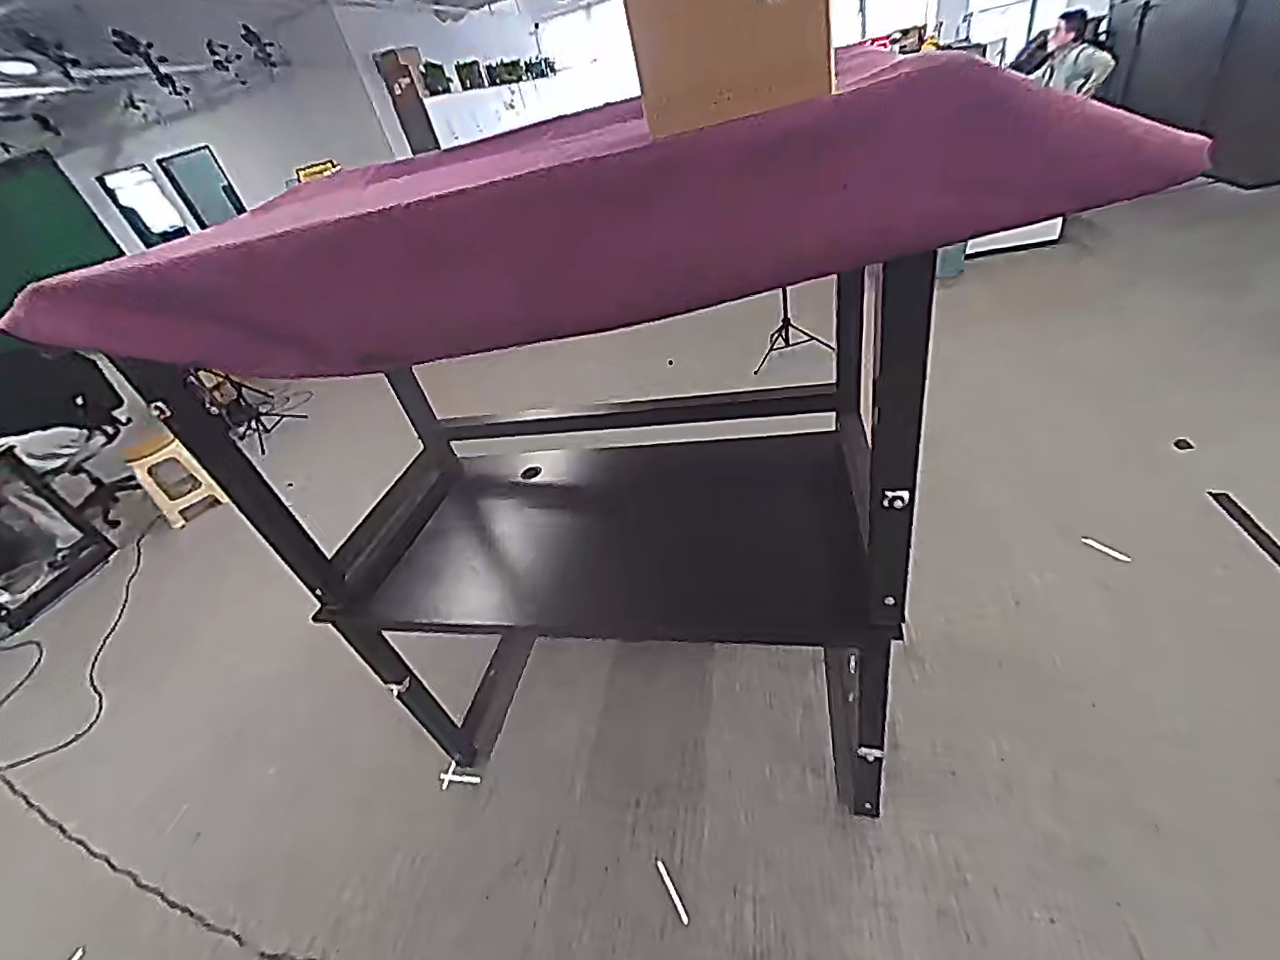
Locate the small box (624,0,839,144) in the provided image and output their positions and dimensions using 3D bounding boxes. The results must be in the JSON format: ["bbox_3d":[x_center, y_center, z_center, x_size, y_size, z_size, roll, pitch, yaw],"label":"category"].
[{"bbox_3d":[0.096,-0.445,0.516,0.179,0.176,0.168,-1,37,22],"label":"small box"}]
